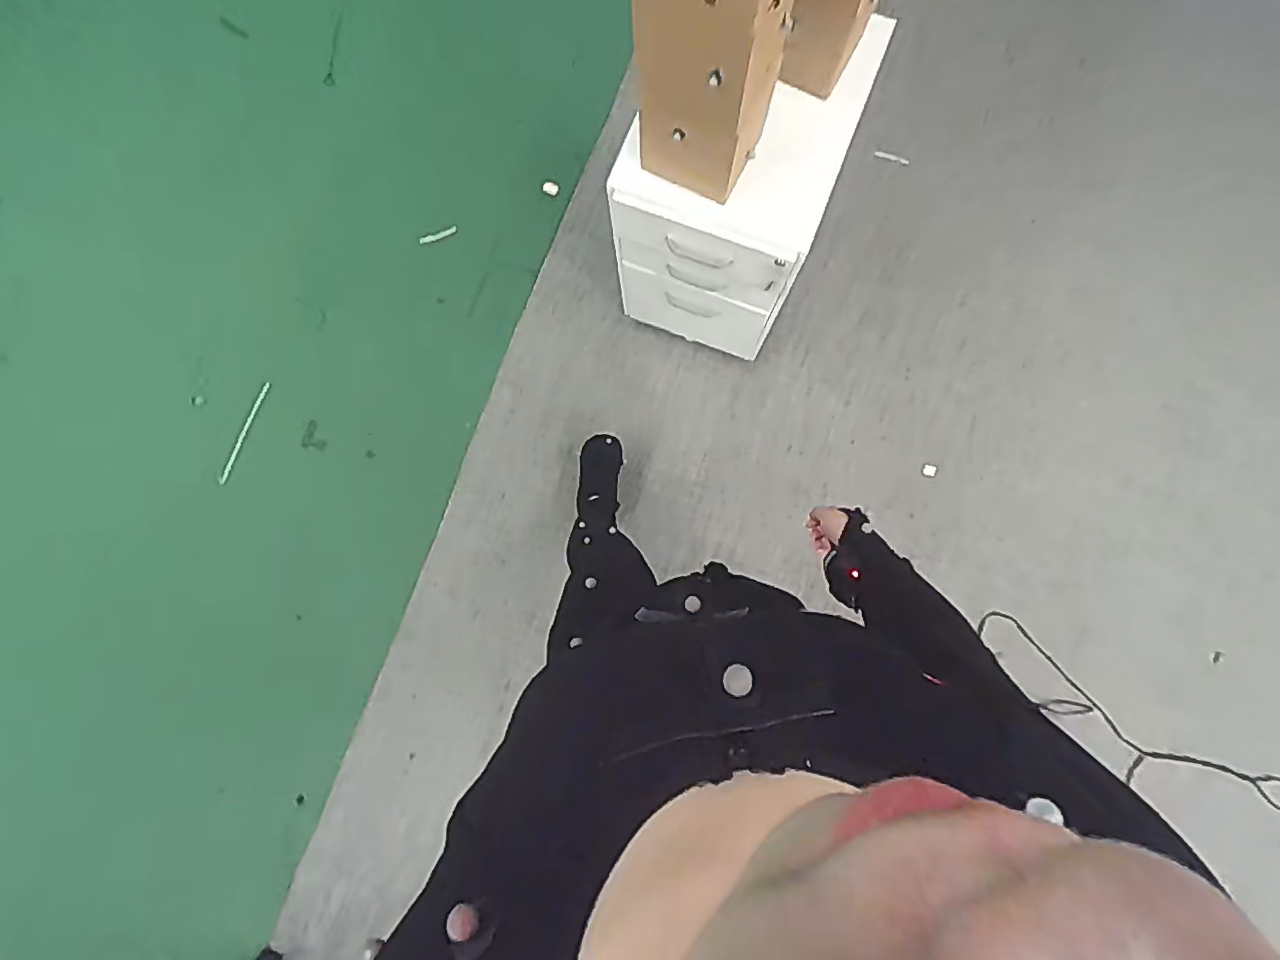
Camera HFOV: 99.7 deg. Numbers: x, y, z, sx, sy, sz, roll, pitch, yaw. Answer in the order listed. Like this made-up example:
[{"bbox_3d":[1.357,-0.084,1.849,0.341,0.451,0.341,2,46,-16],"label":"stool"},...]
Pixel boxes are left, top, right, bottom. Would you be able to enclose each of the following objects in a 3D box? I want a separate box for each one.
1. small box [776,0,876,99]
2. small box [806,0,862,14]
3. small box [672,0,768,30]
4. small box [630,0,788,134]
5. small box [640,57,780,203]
[{"bbox_3d":[0.303,-0.824,0.950,0.179,0.176,0.168,28,84,6],"label":"small box"},{"bbox_3d":[0.291,-0.845,0.789,0.179,0.176,0.168,28,84,5],"label":"small box"},{"bbox_3d":[0.098,-0.667,0.604,0.168,0.176,0.179,26,82,4],"label":"small box"},{"bbox_3d":[0.101,-0.639,0.767,0.179,0.176,0.168,26,82,6],"label":"small box"},{"bbox_3d":[0.110,-0.618,0.927,0.179,0.176,0.168,27,83,4],"label":"small box"}]
